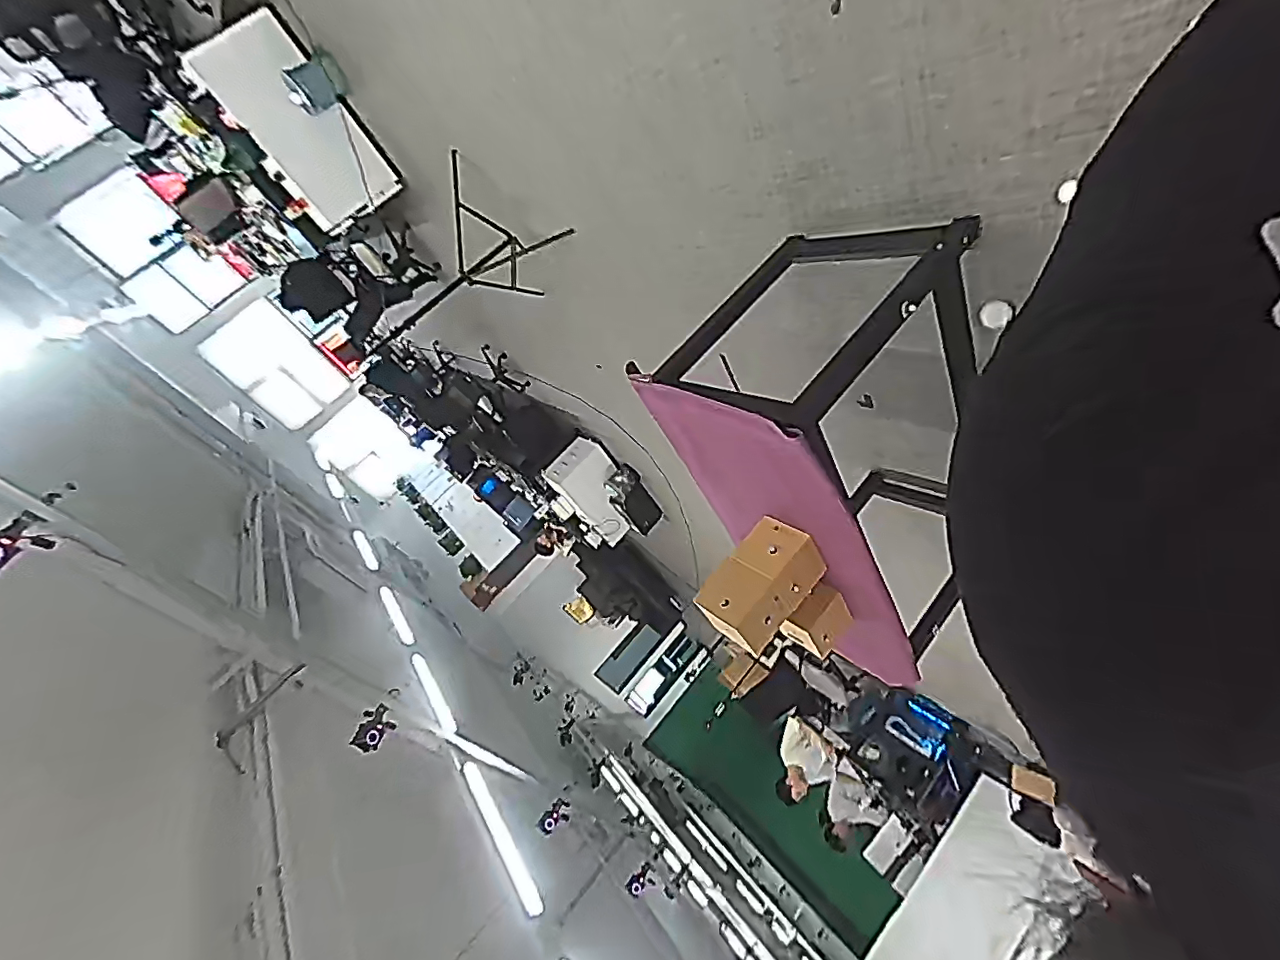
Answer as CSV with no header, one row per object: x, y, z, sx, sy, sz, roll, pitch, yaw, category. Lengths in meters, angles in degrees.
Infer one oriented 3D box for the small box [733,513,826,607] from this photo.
0.403,0.223,1.555,0.168,0.176,0.179,27,159,50,small box

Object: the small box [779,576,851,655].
0.544,0.412,1.717,0.168,0.176,0.179,26,157,50,small box

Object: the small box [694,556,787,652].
0.292,0.343,1.526,0.179,0.176,0.168,27,159,50,small box
